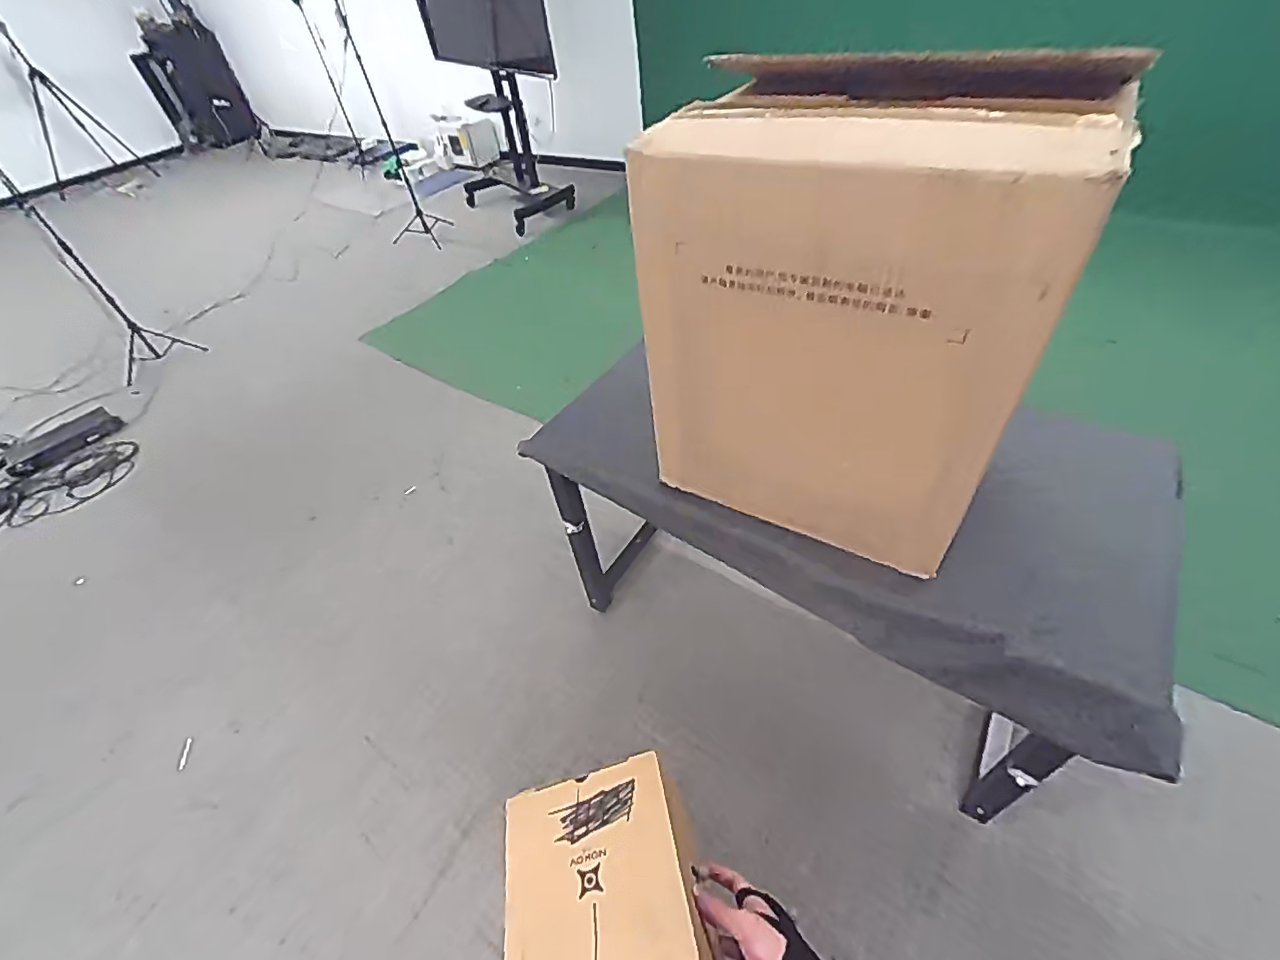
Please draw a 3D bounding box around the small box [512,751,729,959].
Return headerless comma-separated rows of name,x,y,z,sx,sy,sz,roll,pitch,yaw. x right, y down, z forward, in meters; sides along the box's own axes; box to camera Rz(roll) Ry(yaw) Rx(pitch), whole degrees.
small box,-0.018,0.415,0.543,0.168,0.176,0.179,-19,37,1
